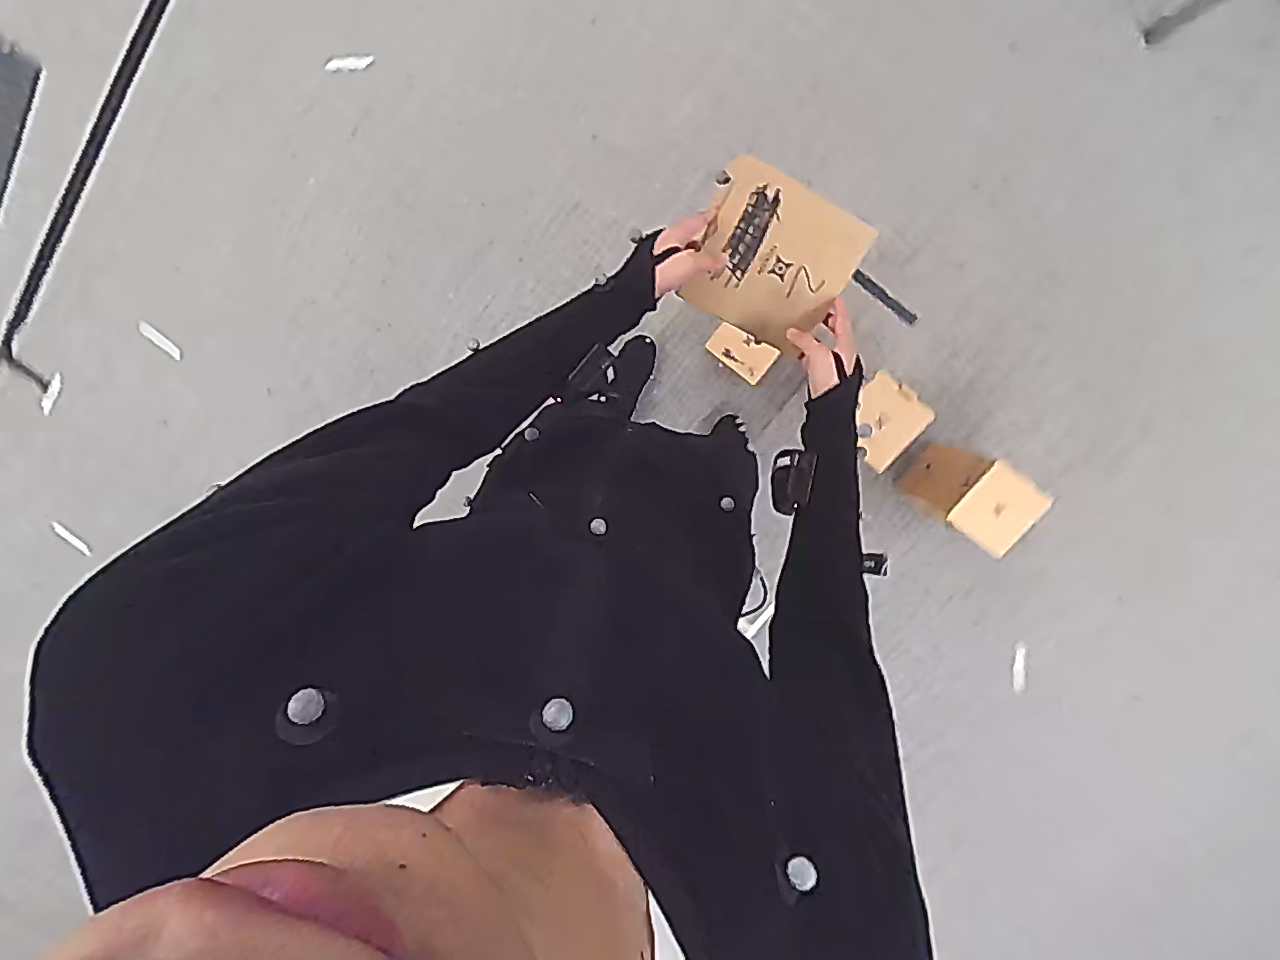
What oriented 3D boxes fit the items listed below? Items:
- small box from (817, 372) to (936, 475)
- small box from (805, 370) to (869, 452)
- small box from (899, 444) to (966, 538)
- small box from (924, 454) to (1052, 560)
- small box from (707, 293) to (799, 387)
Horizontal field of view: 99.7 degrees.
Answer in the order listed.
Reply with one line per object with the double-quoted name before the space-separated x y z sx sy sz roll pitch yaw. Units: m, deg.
"small box" 0.556 -0.142 1.299 0.168 0.176 0.179 40 102 -4
"small box" 0.572 -0.181 1.458 0.168 0.176 0.179 40 103 -4
"small box" 0.843 0.024 1.480 0.168 0.176 0.179 36 102 -4
"small box" 0.833 0.059 1.321 0.168 0.176 0.179 37 101 -4
"small box" 0.291 -0.368 1.443 0.168 0.176 0.179 38 102 -3
